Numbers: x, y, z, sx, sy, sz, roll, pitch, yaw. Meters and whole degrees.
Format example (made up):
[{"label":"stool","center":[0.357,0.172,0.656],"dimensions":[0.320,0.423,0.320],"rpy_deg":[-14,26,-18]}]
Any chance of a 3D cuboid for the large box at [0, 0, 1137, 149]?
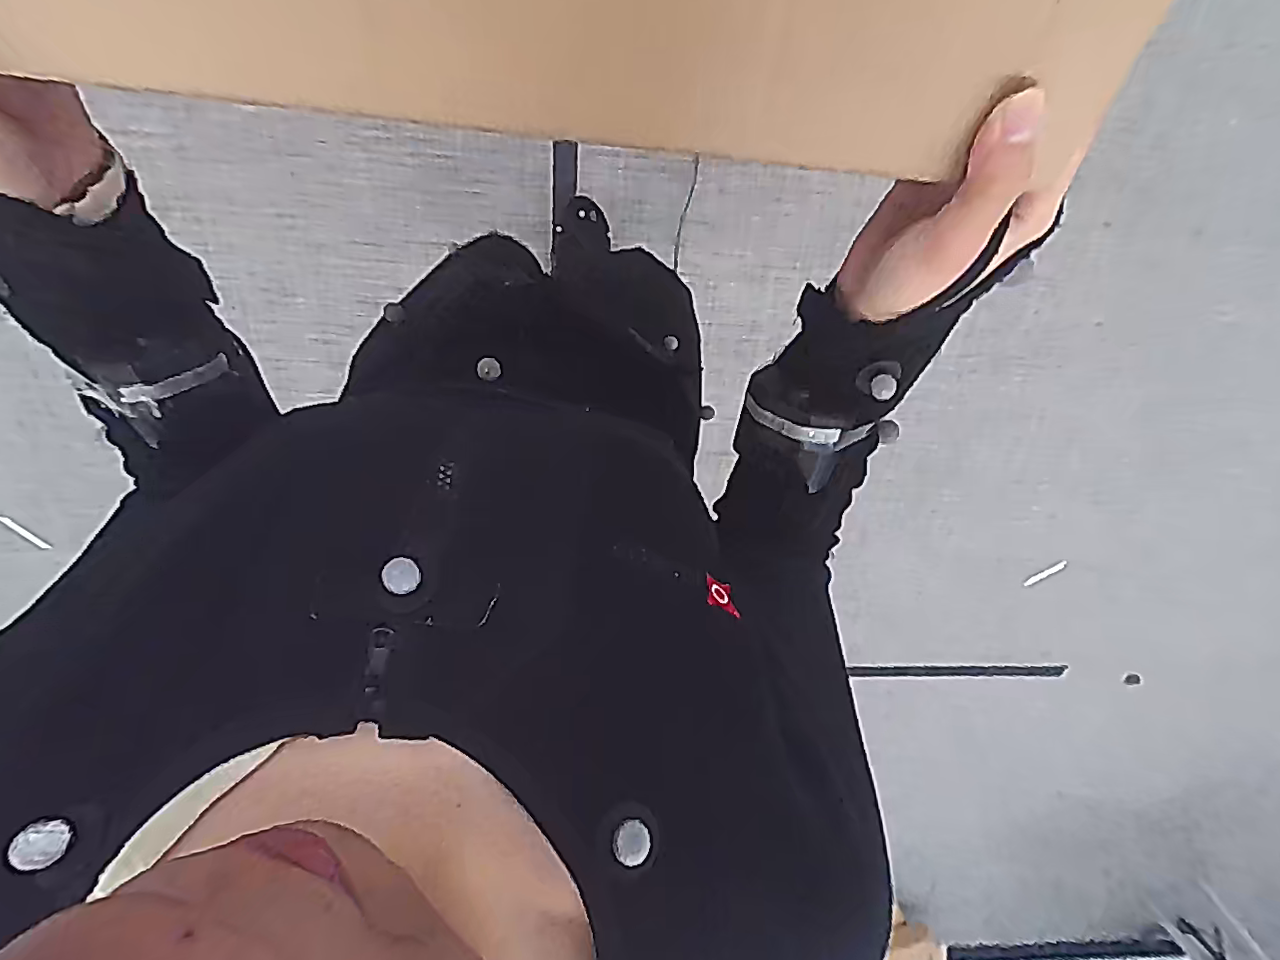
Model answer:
[{"label":"large box","center":[-0.032,-0.345,0.172],"dimensions":[0.408,0.320,0.320],"rpy_deg":[3,141,-5]}]
